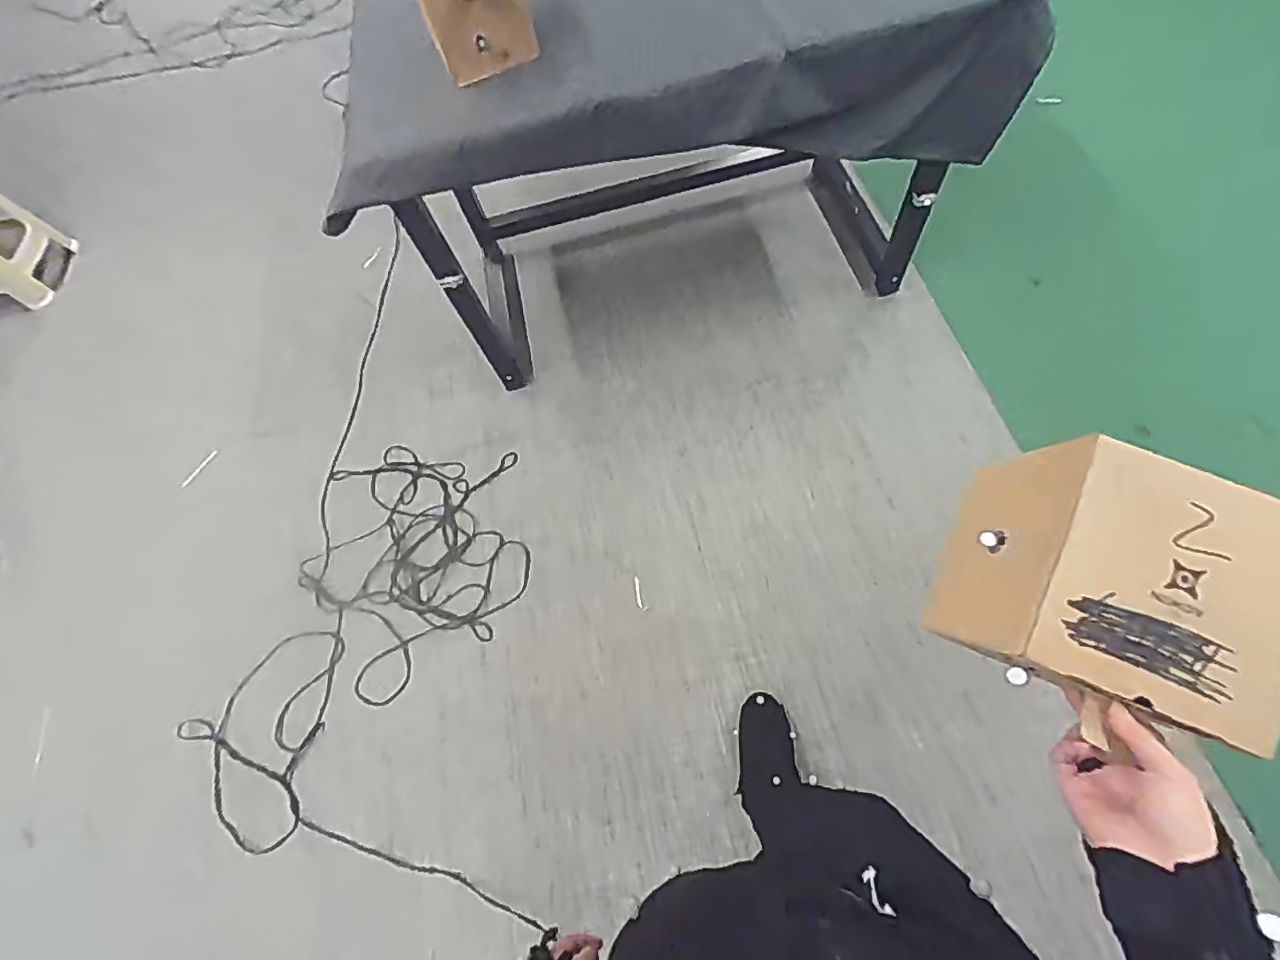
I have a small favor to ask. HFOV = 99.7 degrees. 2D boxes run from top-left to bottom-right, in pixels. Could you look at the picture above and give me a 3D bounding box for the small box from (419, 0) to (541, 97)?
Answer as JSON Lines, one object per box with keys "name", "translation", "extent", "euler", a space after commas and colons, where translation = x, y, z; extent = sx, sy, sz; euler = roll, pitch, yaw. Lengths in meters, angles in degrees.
{"name": "small box", "translation": [-0.298, -0.837, 0.972], "extent": [0.168, 0.176, 0.179], "euler": [-24, 65, -4]}
